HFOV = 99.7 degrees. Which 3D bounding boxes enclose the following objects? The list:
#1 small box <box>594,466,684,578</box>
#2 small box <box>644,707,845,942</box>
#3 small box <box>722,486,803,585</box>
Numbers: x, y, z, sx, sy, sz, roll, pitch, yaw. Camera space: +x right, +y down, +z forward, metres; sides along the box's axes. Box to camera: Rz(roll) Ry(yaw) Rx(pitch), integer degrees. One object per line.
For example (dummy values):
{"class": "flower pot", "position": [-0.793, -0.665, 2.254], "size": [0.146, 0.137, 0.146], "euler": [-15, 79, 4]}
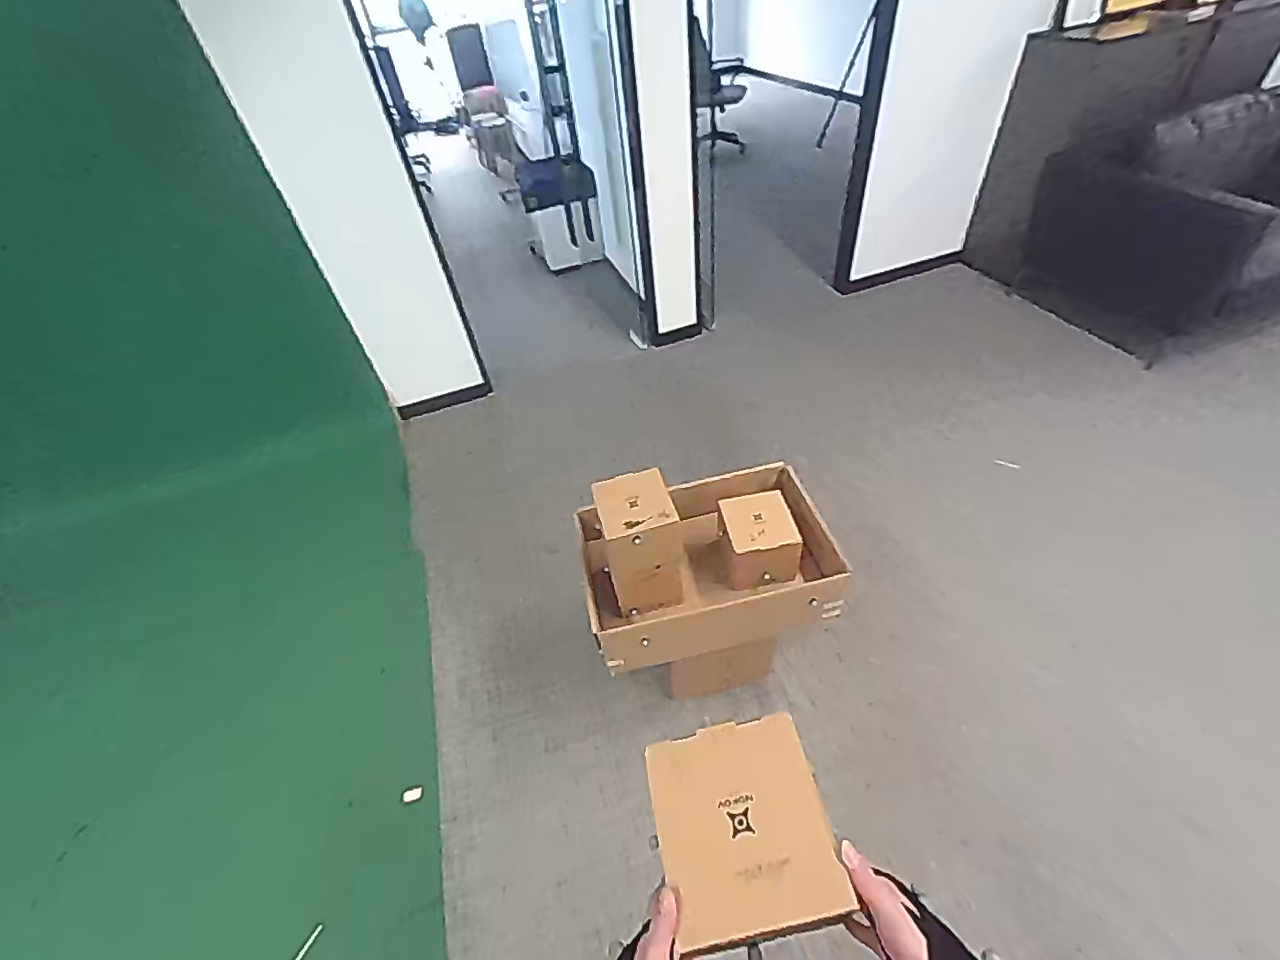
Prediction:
{"class": "small box", "position": [-0.001, 0.100, 1.271], "size": [0.168, 0.176, 0.179], "euler": [-16, 46, -5]}
{"class": "small box", "position": [0.107, 0.382, 0.599], "size": [0.168, 0.176, 0.179], "euler": [-14, 47, 3]}
{"class": "small box", "position": [0.309, 0.145, 1.401], "size": [0.168, 0.176, 0.179], "euler": [-11, 46, 0]}
